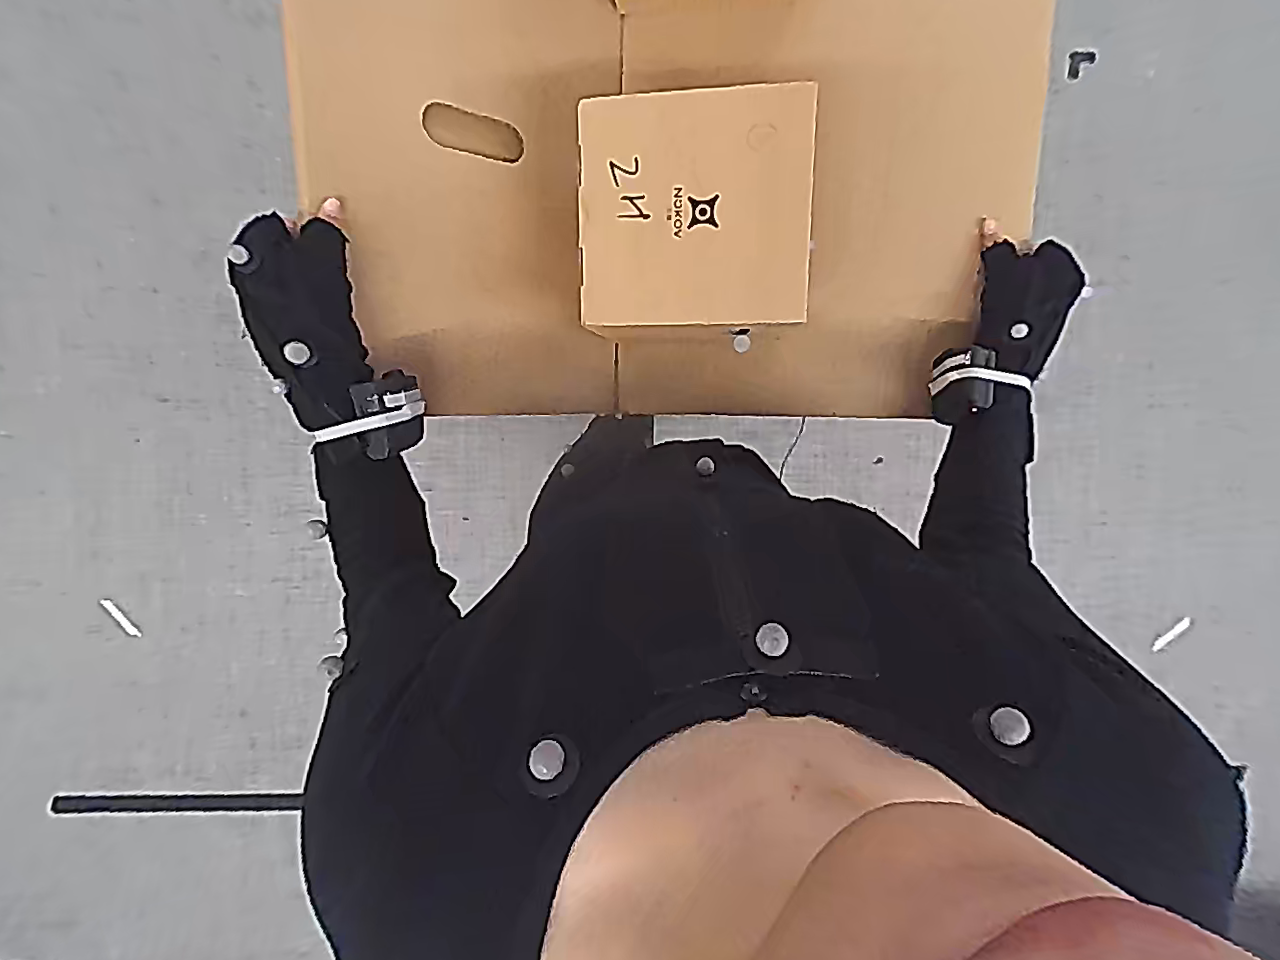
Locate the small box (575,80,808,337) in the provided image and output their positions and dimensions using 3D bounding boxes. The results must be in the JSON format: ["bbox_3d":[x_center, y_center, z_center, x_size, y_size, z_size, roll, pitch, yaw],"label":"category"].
[{"bbox_3d":[0.046,-0.224,0.491,0.179,0.176,0.168,2,99,9],"label":"small box"}]
